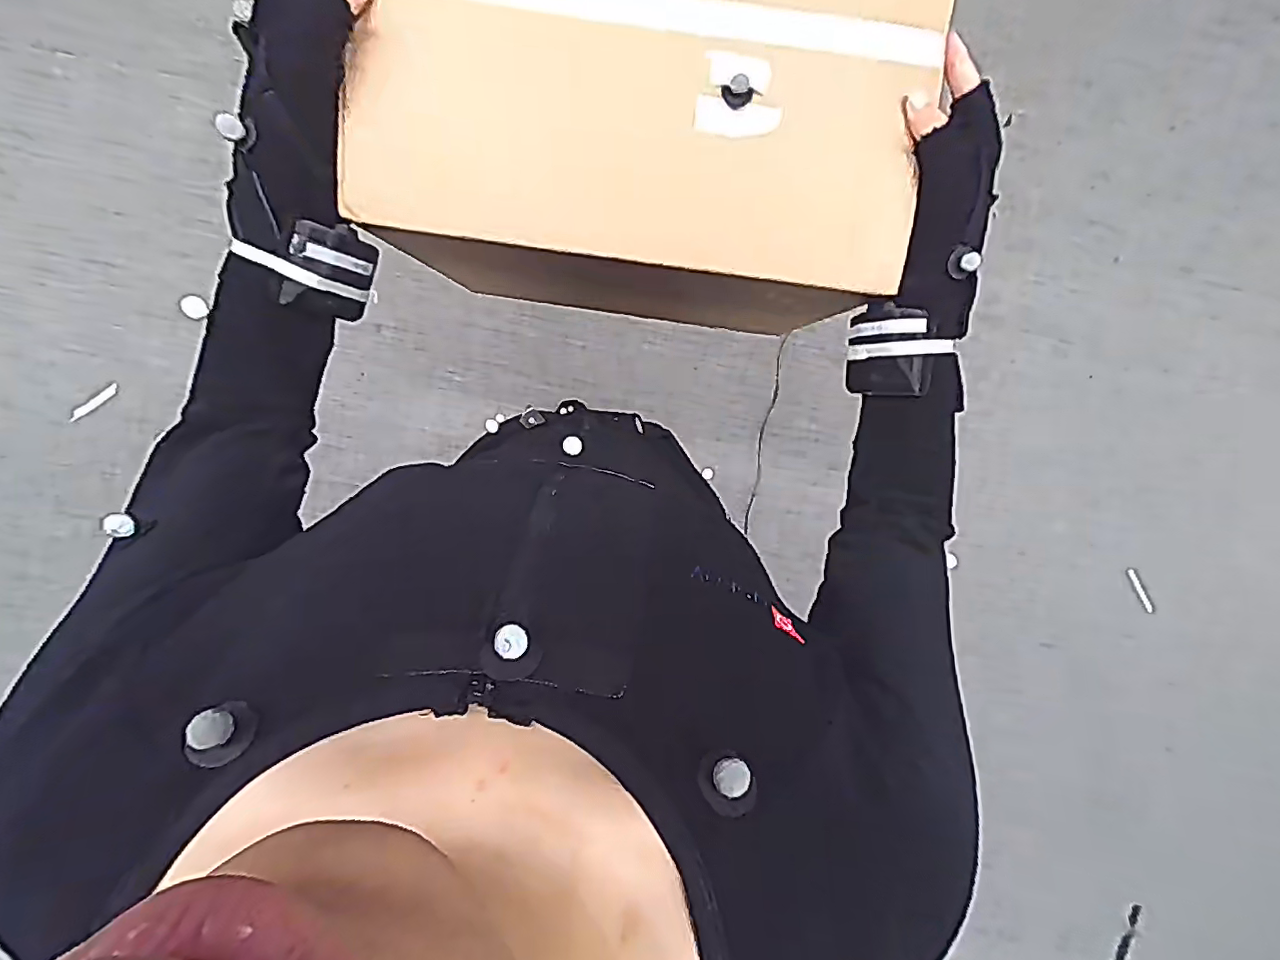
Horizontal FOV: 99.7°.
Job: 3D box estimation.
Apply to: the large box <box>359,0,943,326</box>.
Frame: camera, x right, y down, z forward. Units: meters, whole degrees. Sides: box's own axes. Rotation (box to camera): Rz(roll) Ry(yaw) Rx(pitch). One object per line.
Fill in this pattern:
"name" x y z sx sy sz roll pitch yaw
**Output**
"large box" 0.006 -0.346 0.521 0.408 0.320 0.320 7 99 -2
